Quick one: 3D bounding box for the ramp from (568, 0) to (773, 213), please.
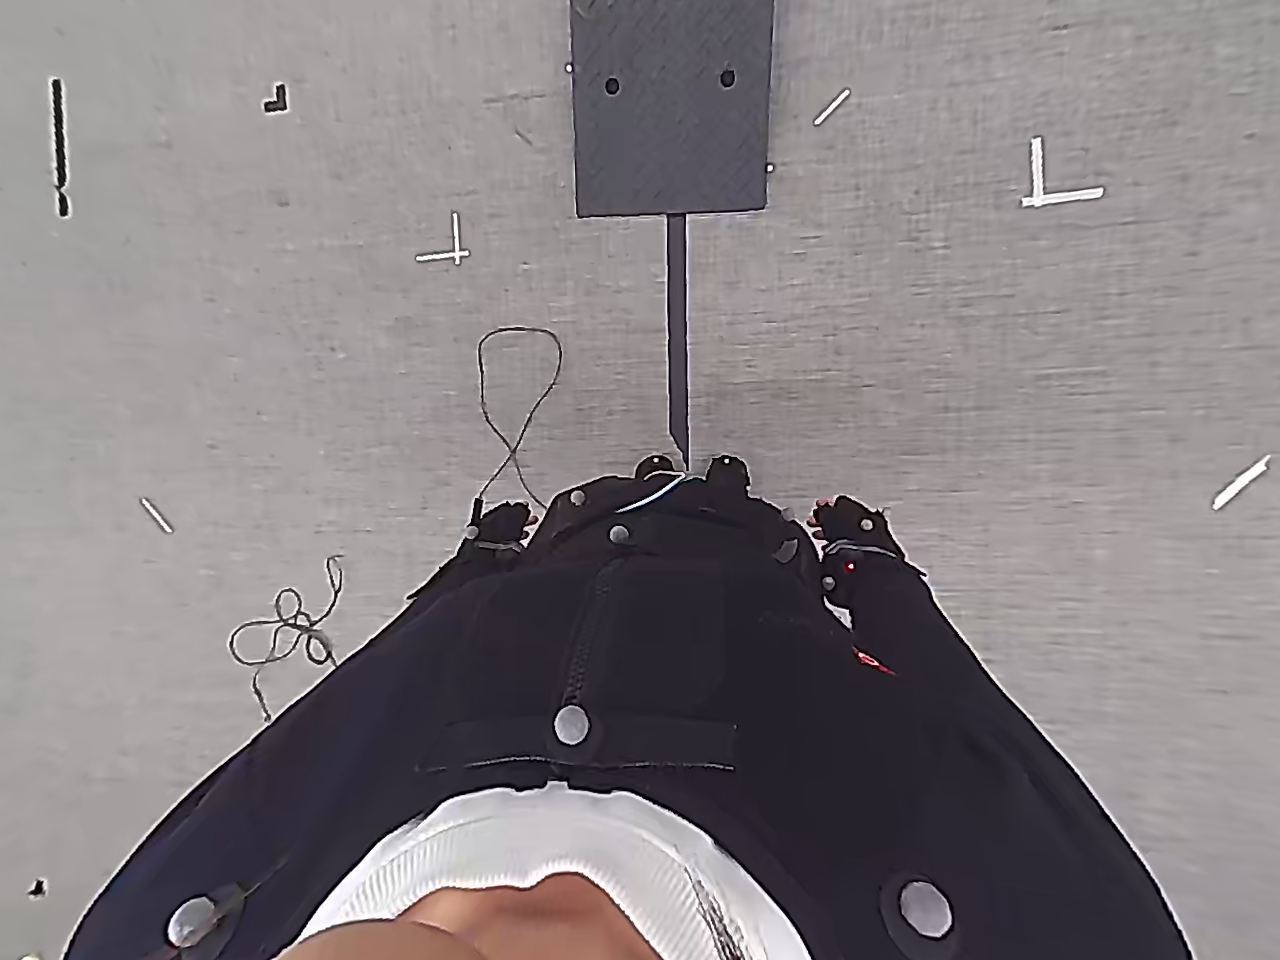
[{"bbox_3d":[0.069,-1.185,1.279,0.509,0.206,0.991,-1,94,7],"label":"ramp"}]
